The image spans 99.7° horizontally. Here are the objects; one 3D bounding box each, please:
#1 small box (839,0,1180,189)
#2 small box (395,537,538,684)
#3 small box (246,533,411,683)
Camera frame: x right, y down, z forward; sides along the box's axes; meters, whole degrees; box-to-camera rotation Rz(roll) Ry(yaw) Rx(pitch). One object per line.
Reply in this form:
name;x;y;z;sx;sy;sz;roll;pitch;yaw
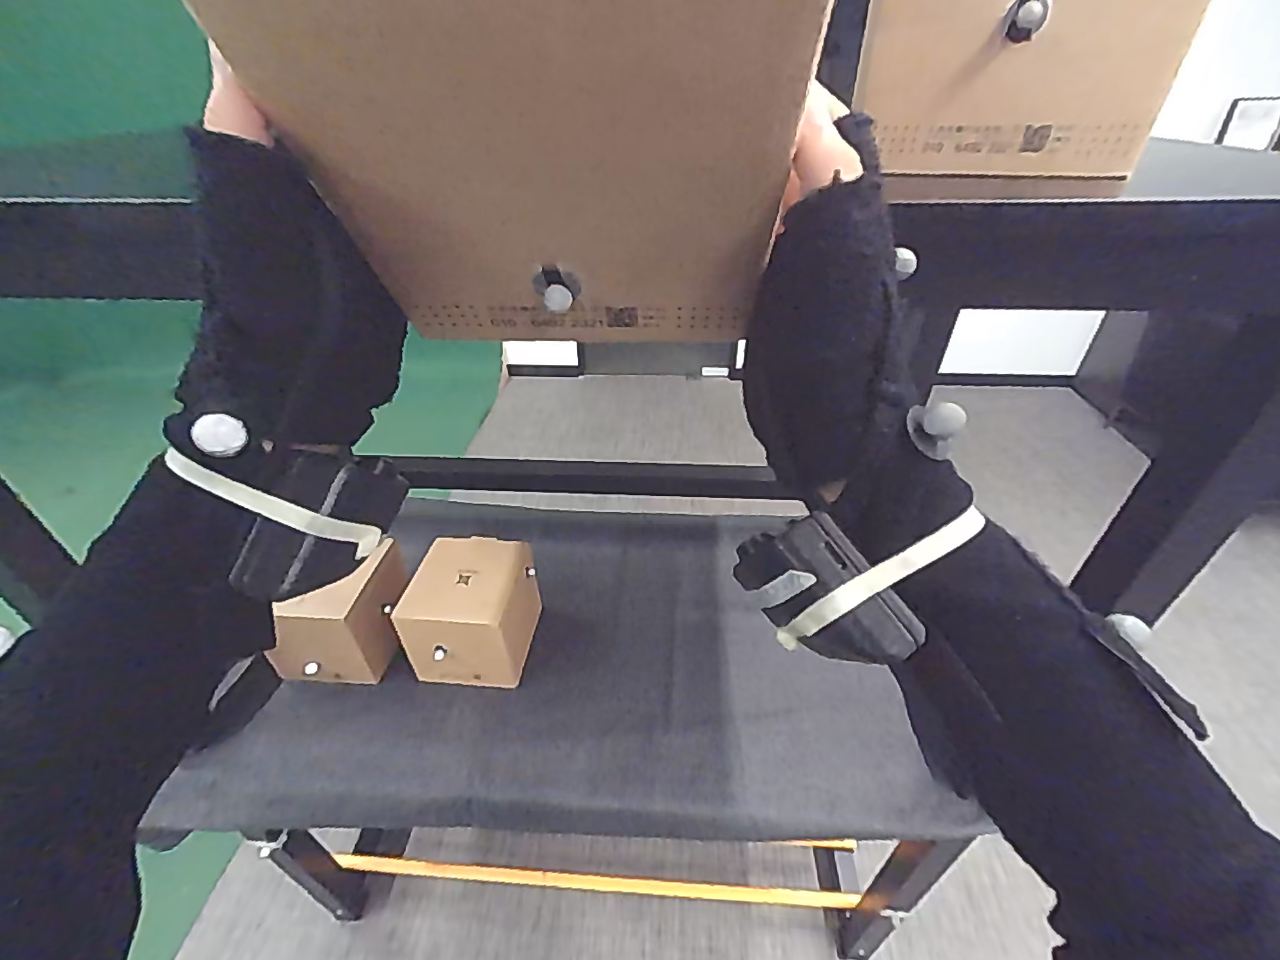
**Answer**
small box;0.243;-0.311;0.381;0.168;0.176;0.179;9;37;12
small box;-0.274;0.218;0.906;0.168;0.176;0.179;3;36;4
small box;-0.502;0.212;0.911;0.168;0.176;0.179;2;37;3
